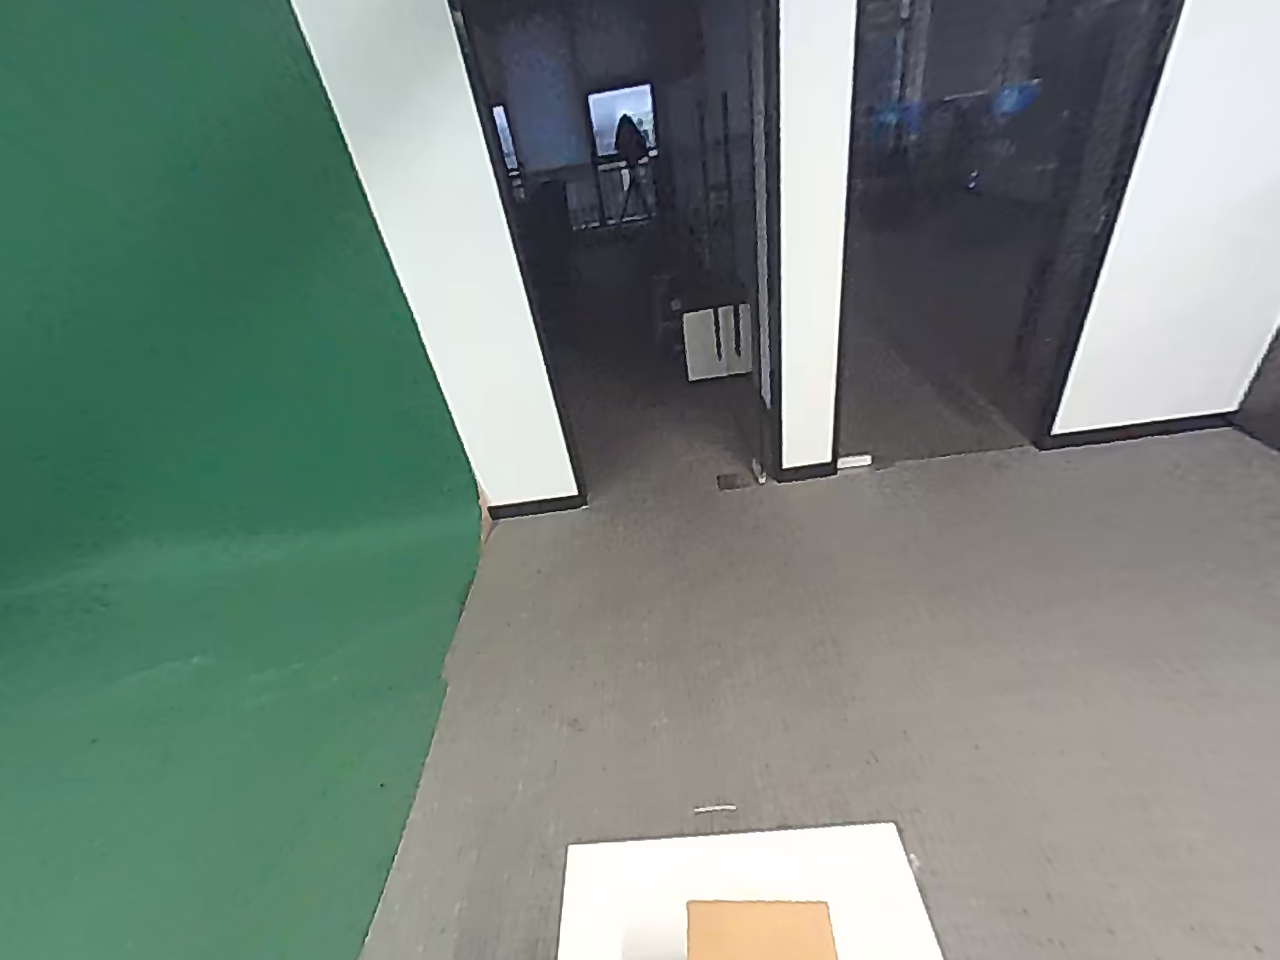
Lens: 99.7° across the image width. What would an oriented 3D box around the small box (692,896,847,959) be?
[{"bbox_3d":[0.146,0.596,0.595,0.168,0.176,0.179,-6,33,7],"label":"small box"}]
